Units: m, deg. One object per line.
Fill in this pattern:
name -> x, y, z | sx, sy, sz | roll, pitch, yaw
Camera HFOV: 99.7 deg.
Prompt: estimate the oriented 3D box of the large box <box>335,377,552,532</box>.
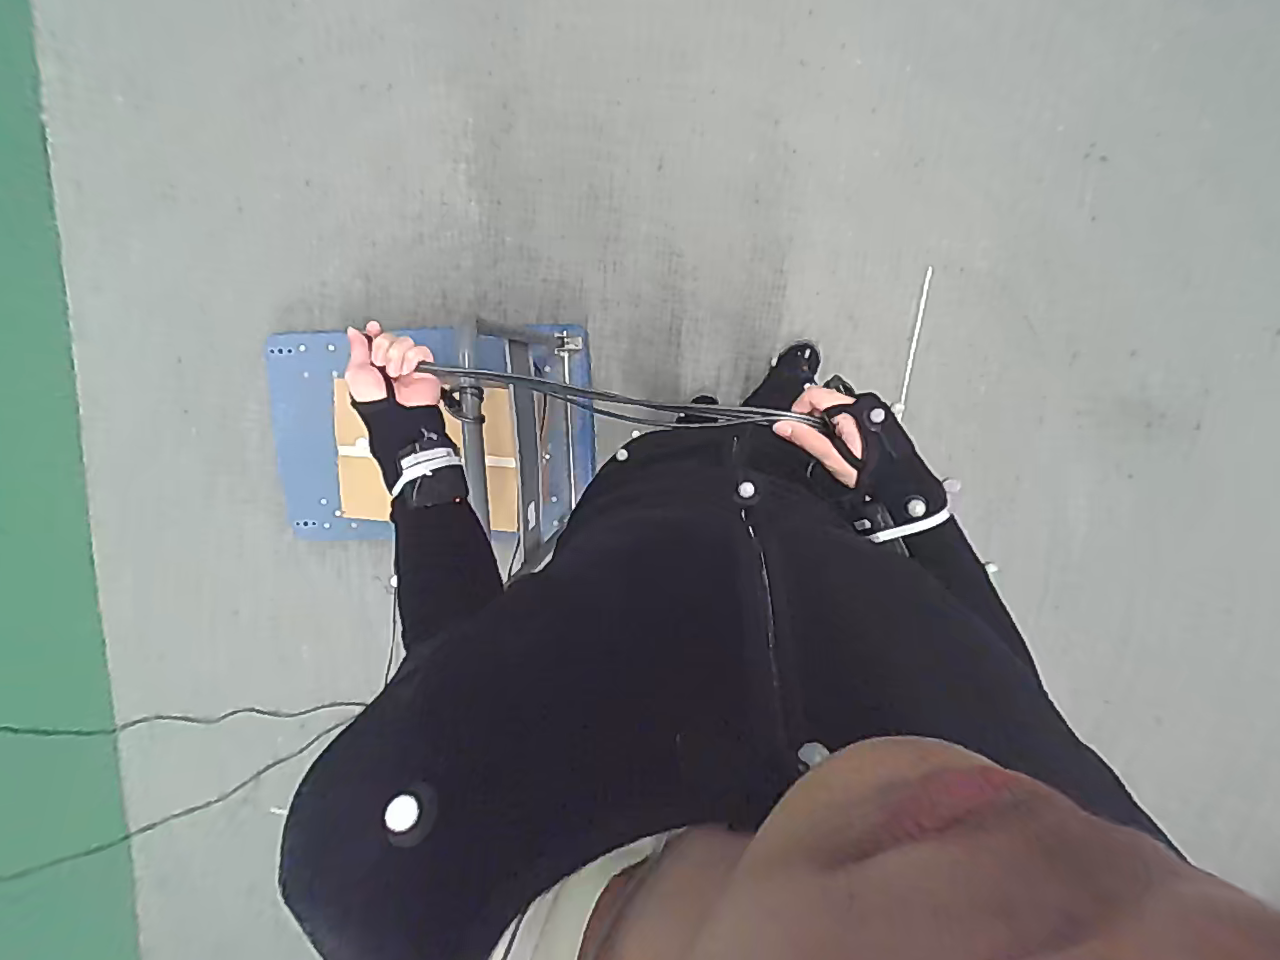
large box -> -0.440, -0.080, 1.301 | 0.408, 0.320, 0.320 | 4, 102, 3
